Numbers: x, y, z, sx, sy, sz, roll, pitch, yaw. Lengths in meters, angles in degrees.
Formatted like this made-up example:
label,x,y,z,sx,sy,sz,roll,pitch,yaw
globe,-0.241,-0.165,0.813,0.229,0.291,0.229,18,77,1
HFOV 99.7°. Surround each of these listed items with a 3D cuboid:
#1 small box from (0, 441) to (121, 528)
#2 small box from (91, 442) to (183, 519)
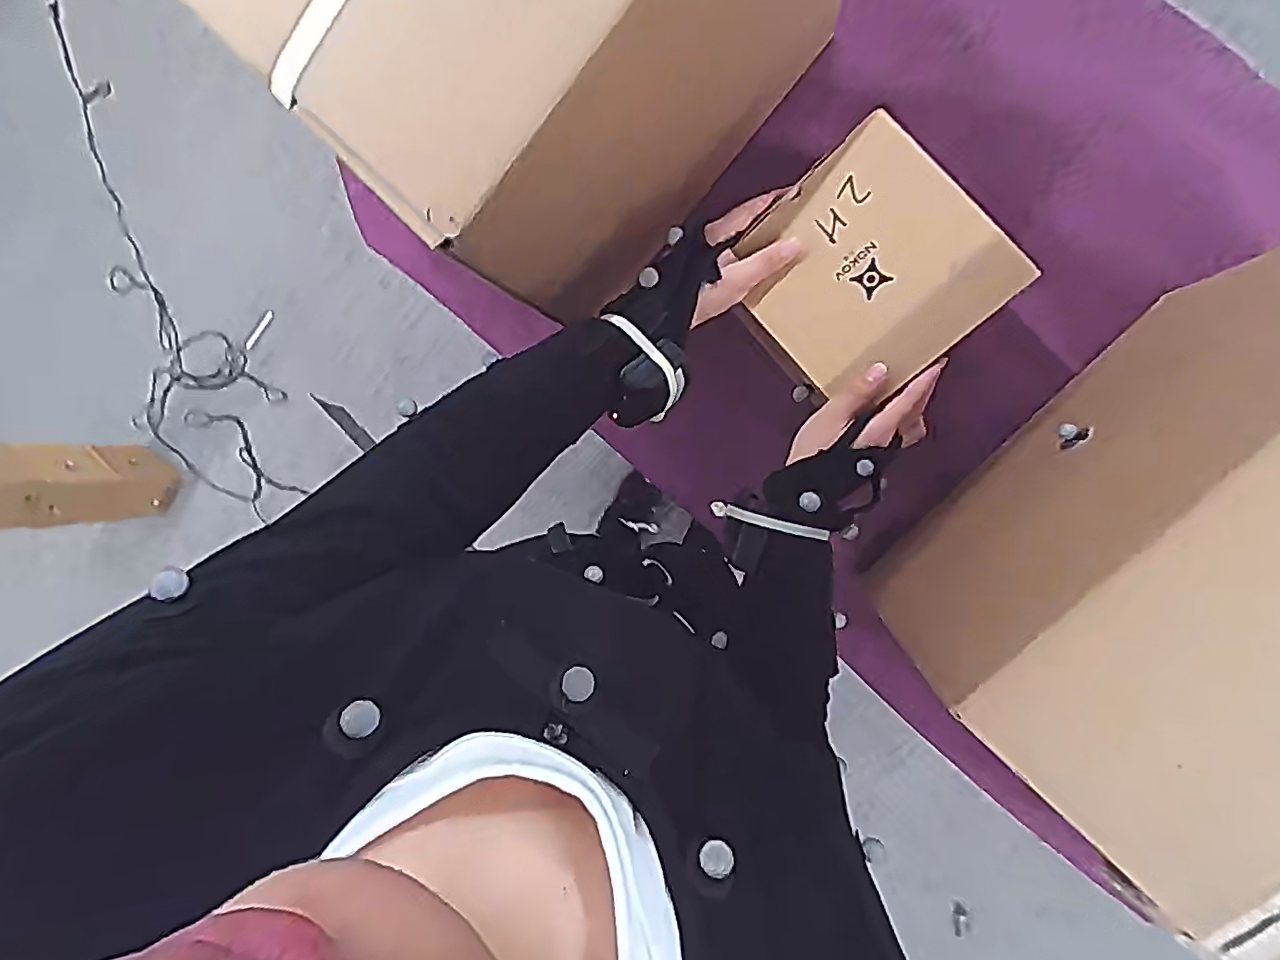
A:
label,x,y,z,sx,sy,sz,roll,pitch,yaw
small box,-1.615,0.005,1.509,0.168,0.176,0.179,40,102,8
small box,-1.579,-0.001,1.667,0.179,0.176,0.168,38,102,8
